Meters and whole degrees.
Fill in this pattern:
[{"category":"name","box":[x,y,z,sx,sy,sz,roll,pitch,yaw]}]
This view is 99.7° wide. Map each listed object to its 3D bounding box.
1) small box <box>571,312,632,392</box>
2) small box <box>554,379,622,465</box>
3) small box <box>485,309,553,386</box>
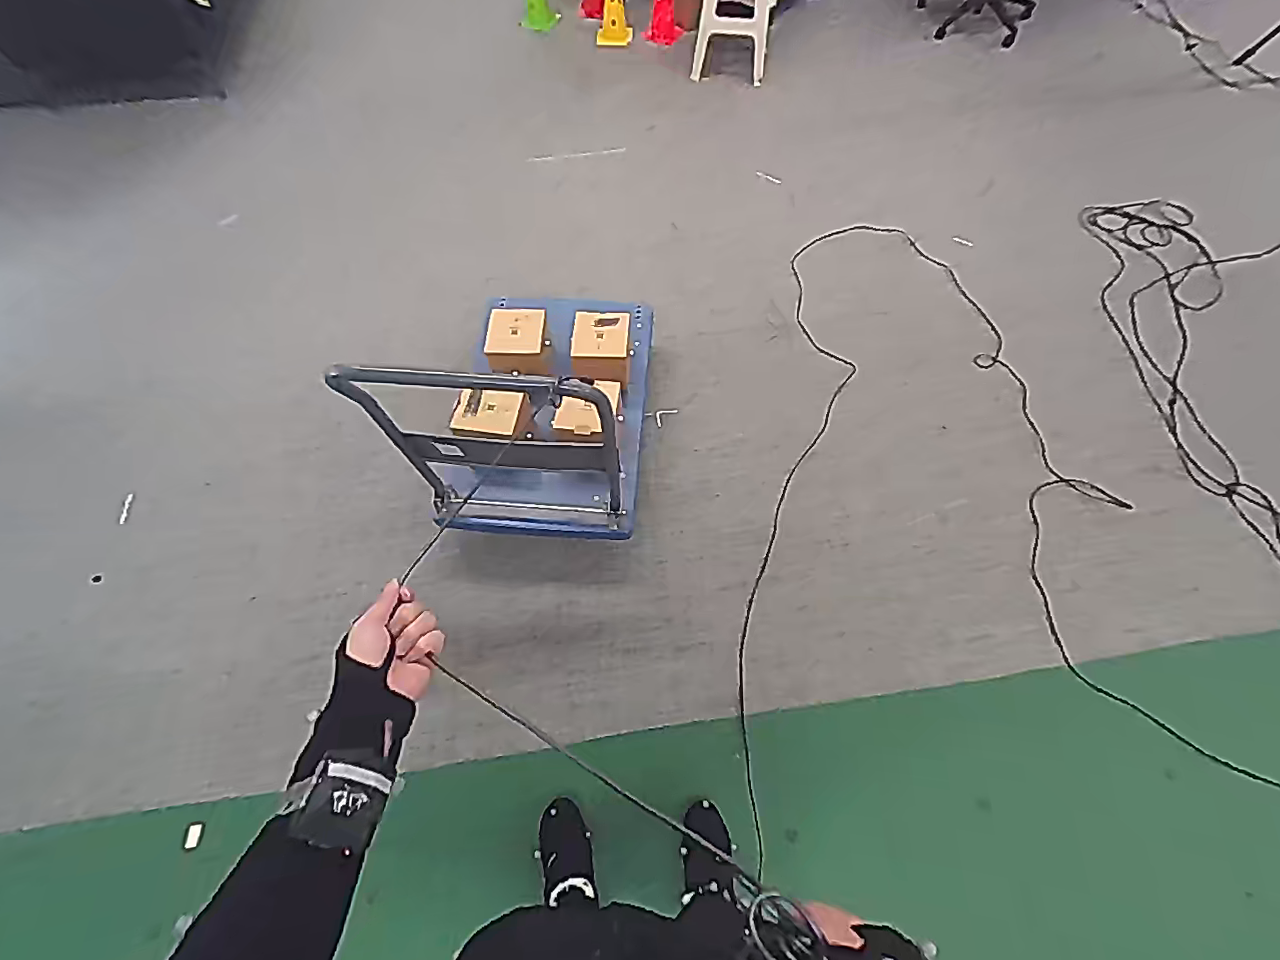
[{"category":"small box","box":[-0.113,-0.393,1.669,0.168,0.176,0.179,3,64,3]},{"category":"small box","box":[-0.143,-0.165,1.555,0.168,0.176,0.179,5,63,3]},{"category":"small box","box":[-0.369,-0.407,1.678,0.168,0.176,0.179,1,63,0]}]
